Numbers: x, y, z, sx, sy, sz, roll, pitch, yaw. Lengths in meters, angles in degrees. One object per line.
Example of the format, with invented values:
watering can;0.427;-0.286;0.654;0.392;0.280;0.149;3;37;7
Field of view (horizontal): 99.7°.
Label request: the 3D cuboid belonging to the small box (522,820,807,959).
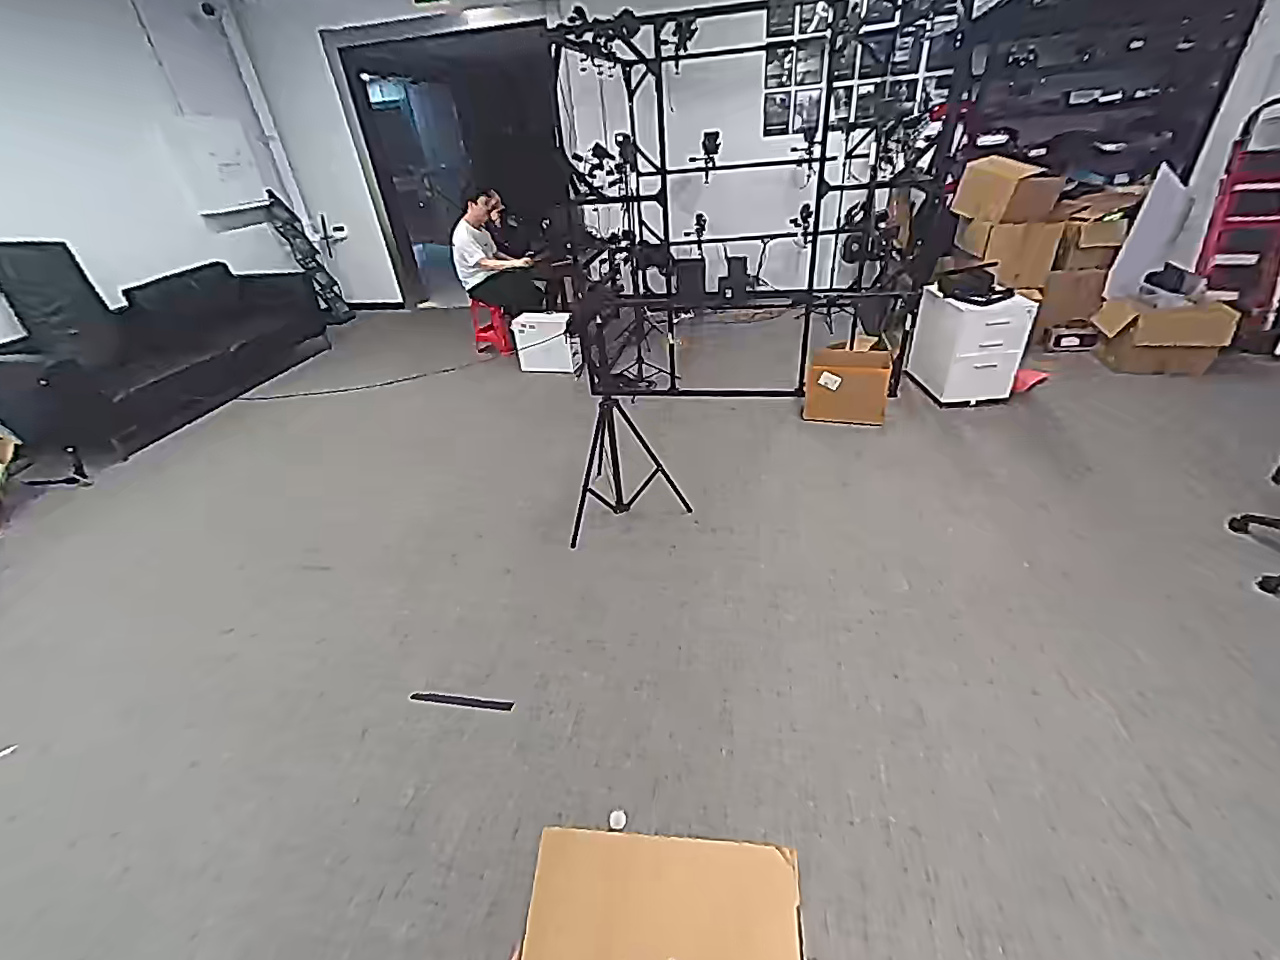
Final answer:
small box;0.023;0.351;0.377;0.179;0.176;0.168;-1;52;9
